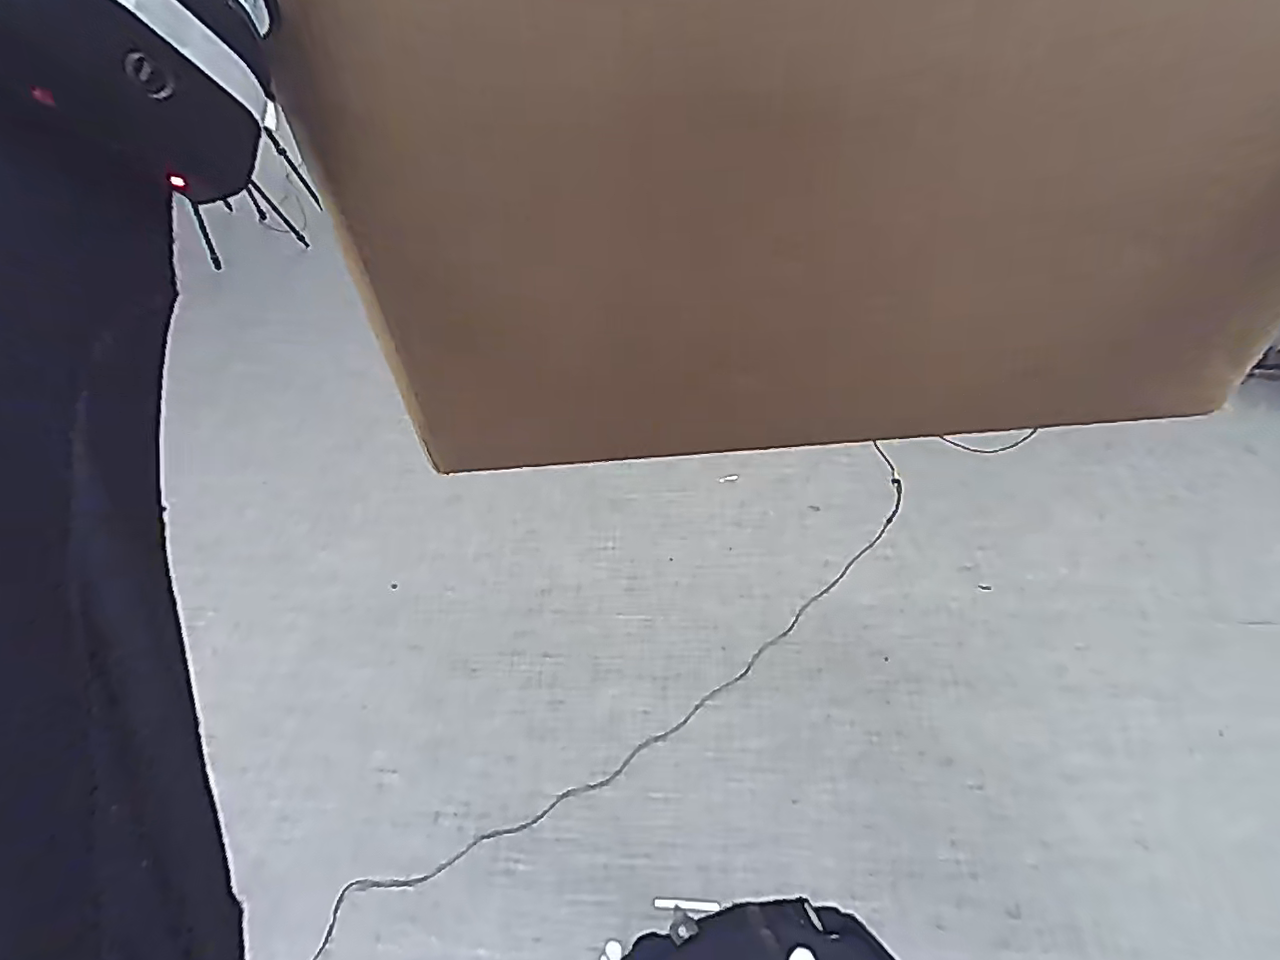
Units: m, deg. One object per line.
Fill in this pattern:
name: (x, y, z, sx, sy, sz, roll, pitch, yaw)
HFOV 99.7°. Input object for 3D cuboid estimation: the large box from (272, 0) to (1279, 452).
large box: (0.073, -0.236, 0.299, 0.408, 0.320, 0.320, -4, 41, -1)
